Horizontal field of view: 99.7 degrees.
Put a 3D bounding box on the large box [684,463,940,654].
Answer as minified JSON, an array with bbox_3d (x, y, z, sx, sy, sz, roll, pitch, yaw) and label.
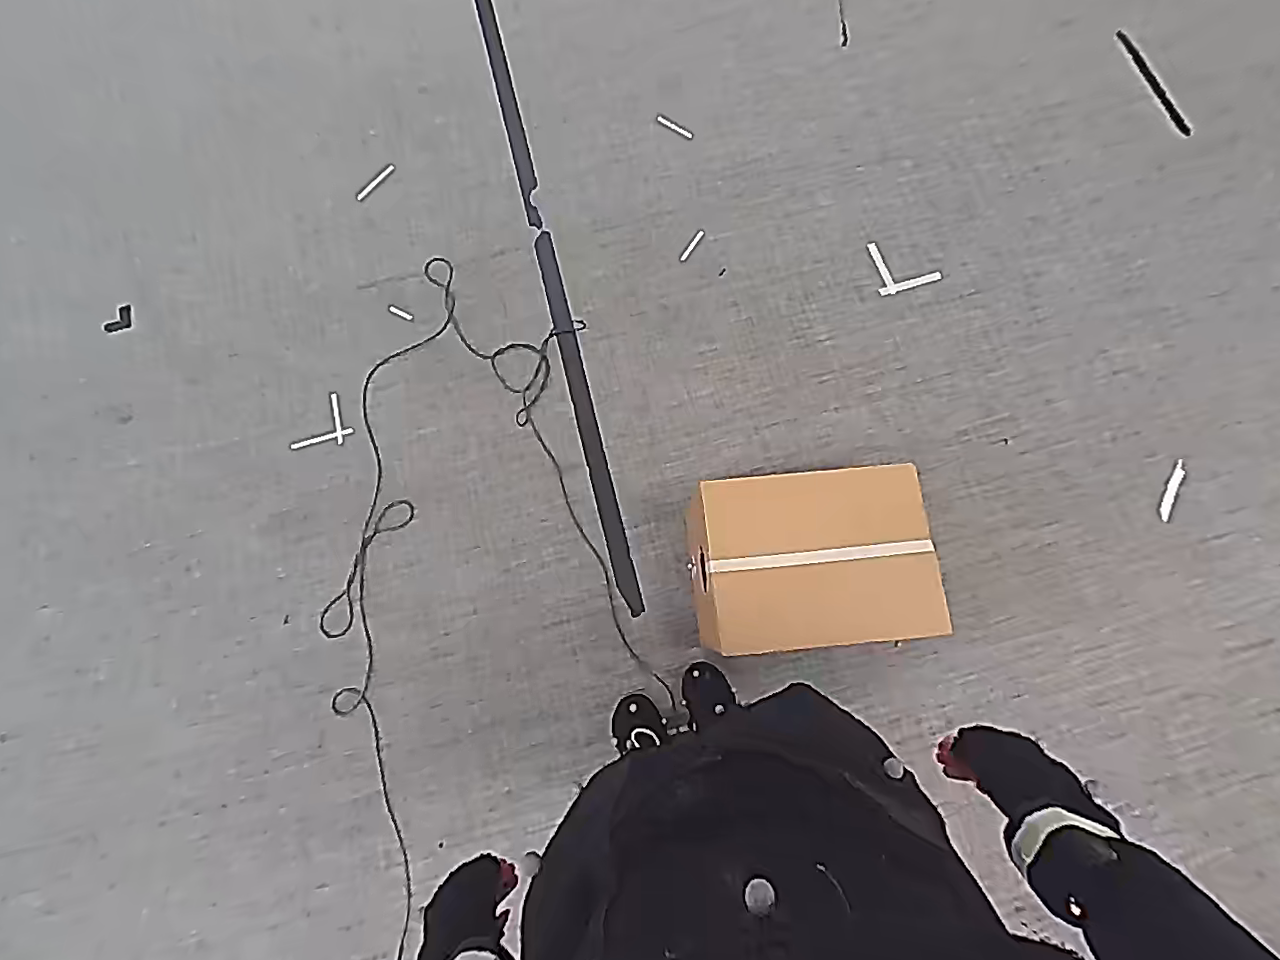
[{"bbox_3d":[0.316,0.168,1.118,0.408,0.320,0.320,-5,75,-1],"label":"large box"}]
